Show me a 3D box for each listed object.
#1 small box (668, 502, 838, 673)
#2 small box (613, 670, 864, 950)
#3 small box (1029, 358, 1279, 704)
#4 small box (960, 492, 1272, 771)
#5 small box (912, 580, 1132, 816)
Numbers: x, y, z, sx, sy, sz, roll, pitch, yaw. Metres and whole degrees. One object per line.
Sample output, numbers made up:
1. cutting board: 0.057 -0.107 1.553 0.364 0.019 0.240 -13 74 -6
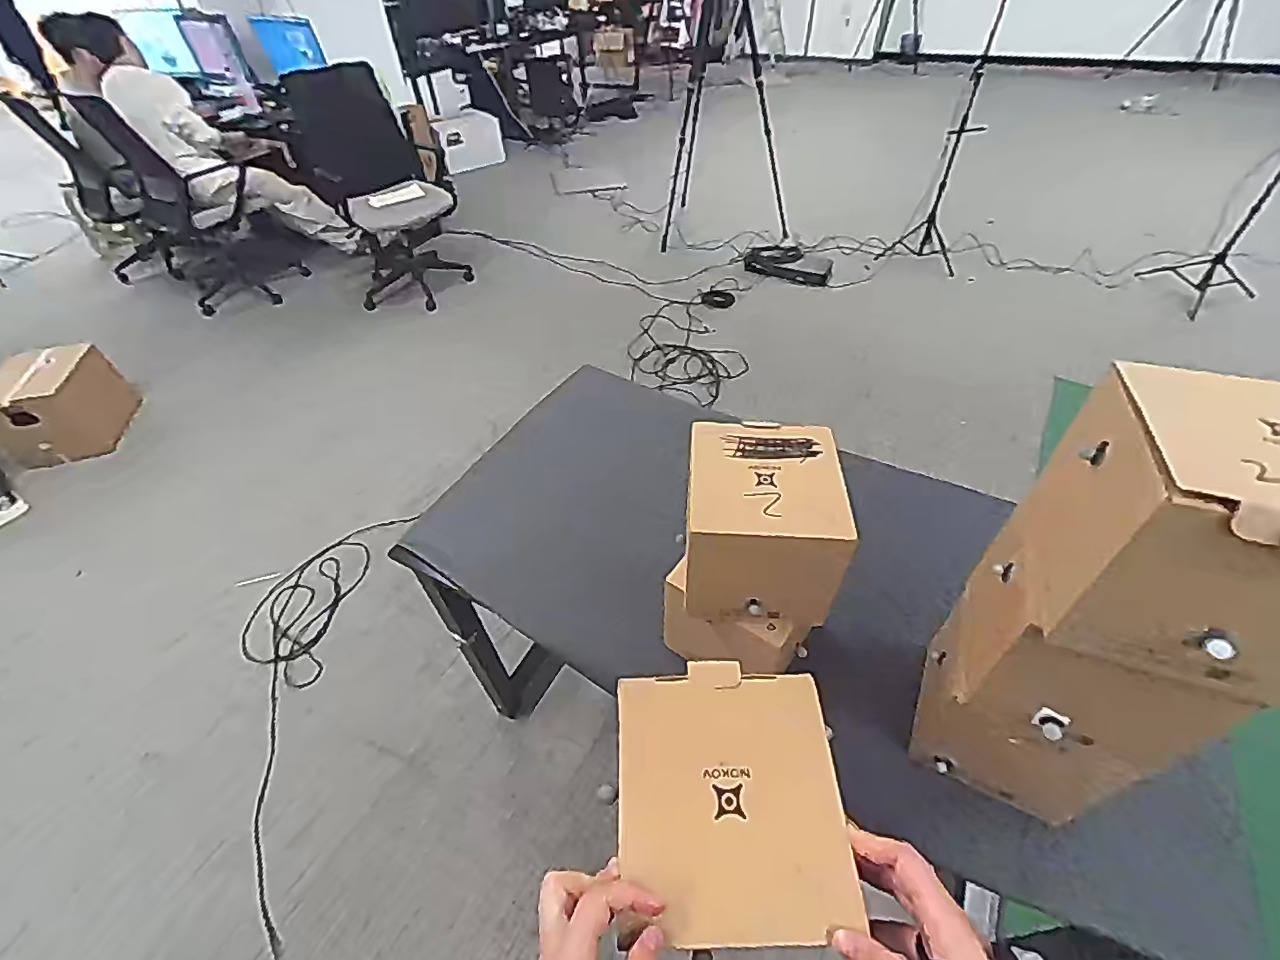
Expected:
1. small box: 0.150 0.170 0.760 0.168 0.176 0.179 27 51 27
2. small box: 0.065 0.280 0.462 0.168 0.176 0.179 -2 50 0
3. small box: 0.429 0.033 0.415 0.168 0.176 0.179 13 46 19
4. small box: 0.438 0.146 0.536 0.168 0.176 0.179 16 48 20
5. small box: 0.446 0.261 0.650 0.168 0.176 0.179 20 47 22
